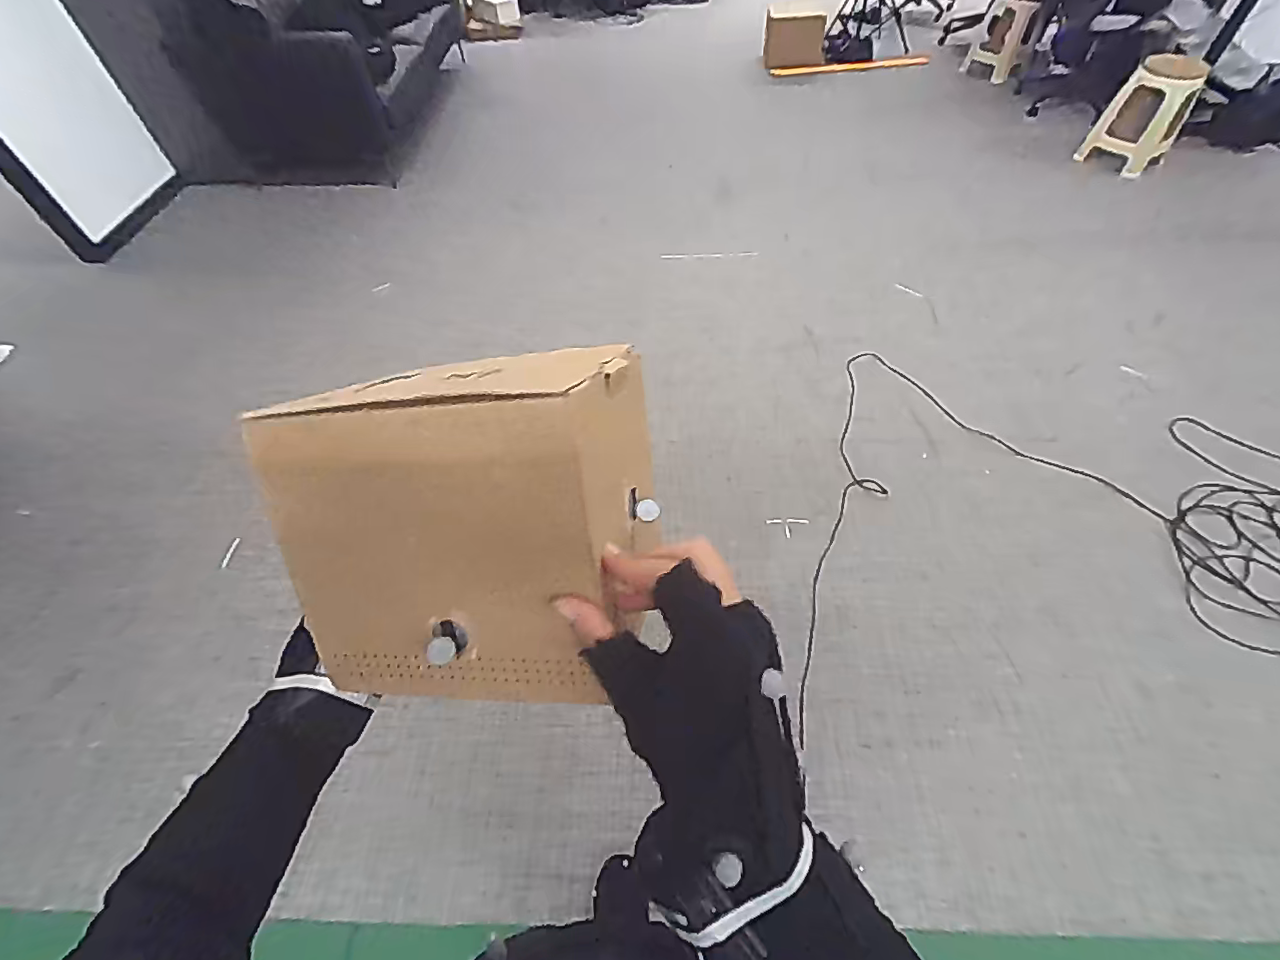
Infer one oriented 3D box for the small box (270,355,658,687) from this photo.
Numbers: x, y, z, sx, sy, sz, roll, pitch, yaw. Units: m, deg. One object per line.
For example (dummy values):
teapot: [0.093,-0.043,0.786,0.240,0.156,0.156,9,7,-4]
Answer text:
small box: [-0.086,0.016,0.360,0.179,0.176,0.168,-2,18,11]
